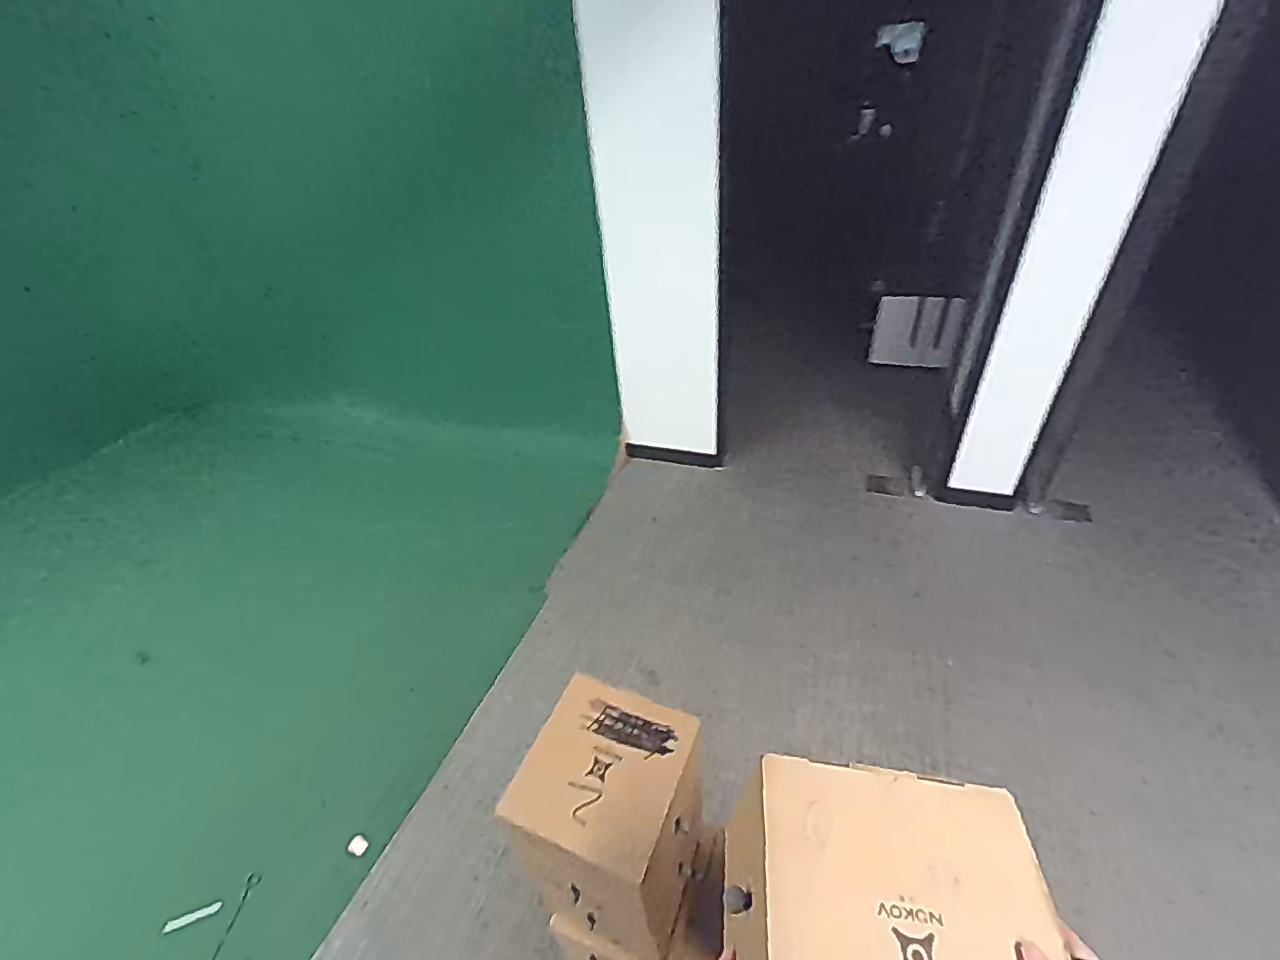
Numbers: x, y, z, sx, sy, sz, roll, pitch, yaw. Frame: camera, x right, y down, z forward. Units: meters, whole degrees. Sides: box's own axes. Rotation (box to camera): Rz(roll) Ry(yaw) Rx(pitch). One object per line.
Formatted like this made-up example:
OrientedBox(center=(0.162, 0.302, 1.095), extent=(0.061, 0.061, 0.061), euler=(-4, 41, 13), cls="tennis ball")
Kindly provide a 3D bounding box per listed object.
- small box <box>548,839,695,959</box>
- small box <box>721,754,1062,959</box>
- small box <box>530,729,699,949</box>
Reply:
OrientedBox(center=(-0.016, 0.626, 0.827), extent=(0.168, 0.176, 0.179), euler=(11, 40, 19), cls="small box")
OrientedBox(center=(0.145, 0.312, 0.352), extent=(0.168, 0.176, 0.179), euler=(7, 43, 4), cls="small box")
OrientedBox(center=(-0.022, 0.487, 0.738), extent=(0.168, 0.176, 0.179), euler=(13, 41, 21), cls="small box")
